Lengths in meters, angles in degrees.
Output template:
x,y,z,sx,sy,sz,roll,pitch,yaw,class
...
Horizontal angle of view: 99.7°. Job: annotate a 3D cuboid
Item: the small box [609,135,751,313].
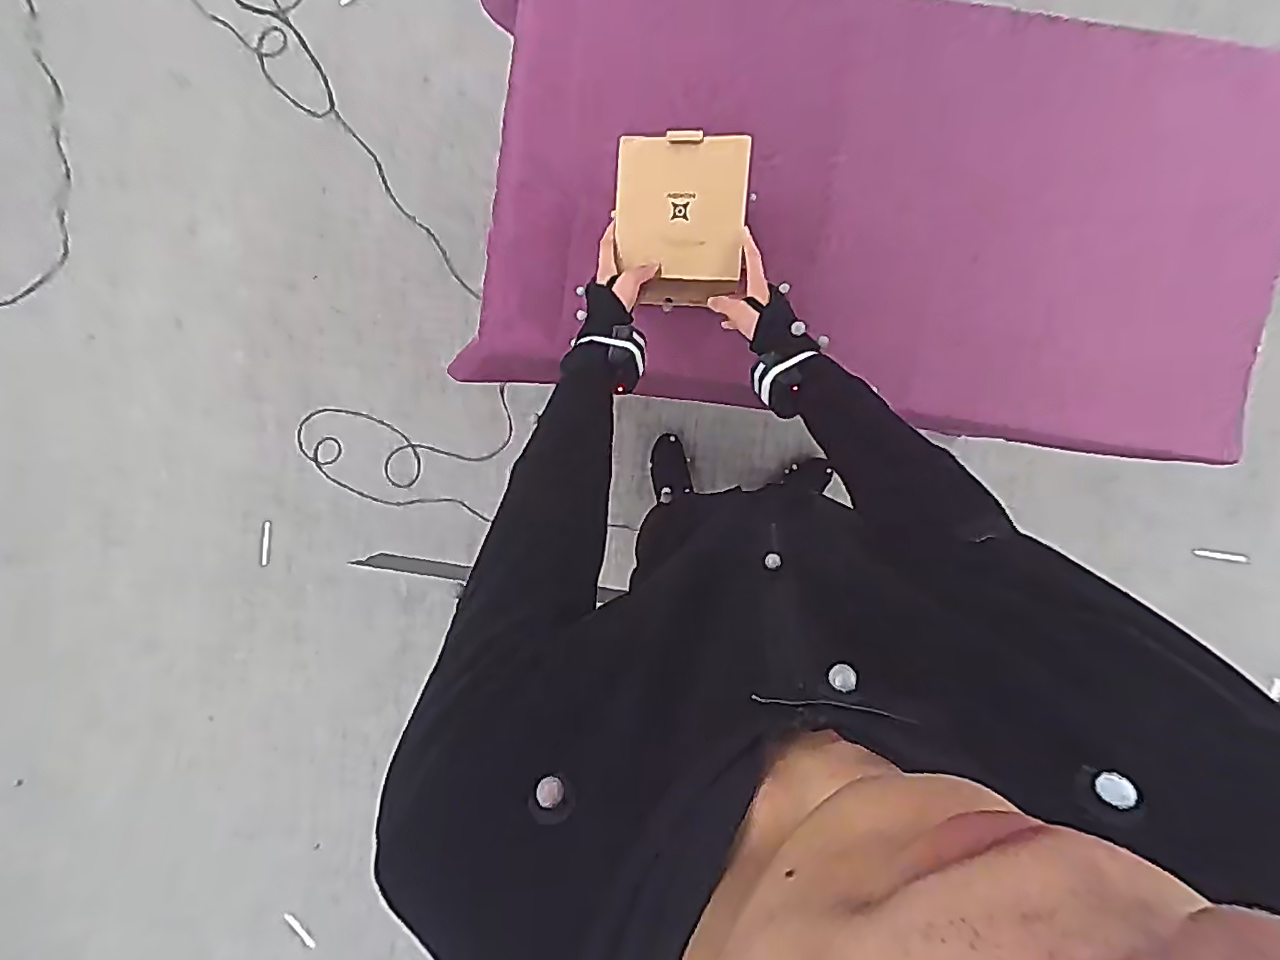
x,y,z,sx,sy,sz,roll,pitch,yaw,class
0.055,-0.344,0.753,0.168,0.176,0.179,5,97,6,small box
